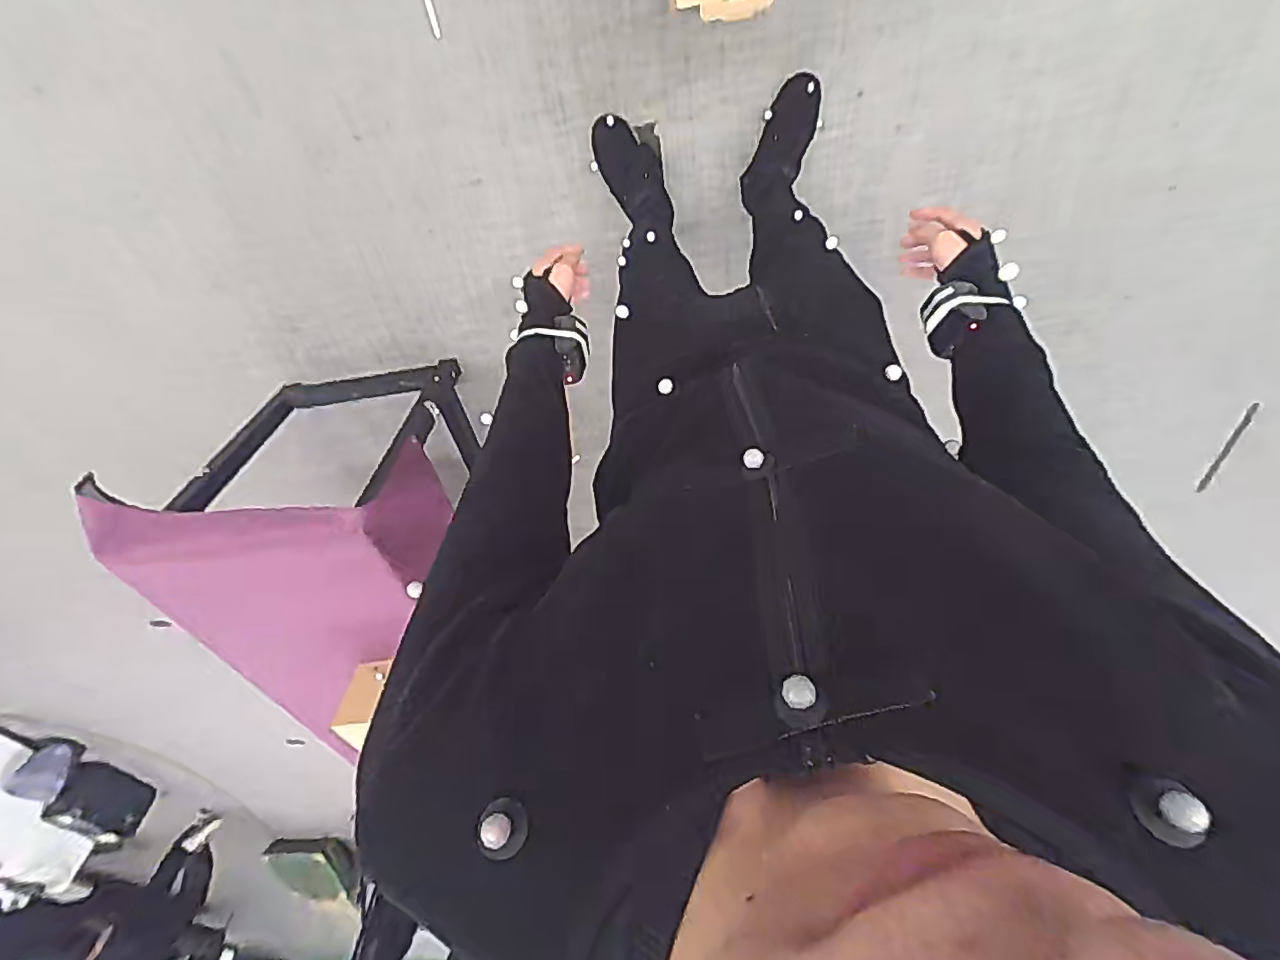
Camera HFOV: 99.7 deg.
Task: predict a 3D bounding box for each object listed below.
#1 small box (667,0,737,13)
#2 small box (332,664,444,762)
[{"bbox_3d":[0.110,-0.764,0.734,0.168,0.176,0.179,-8,130,6],"label":"small box"},{"bbox_3d":[-0.627,0.591,1.373,0.168,0.176,0.179,-10,129,9],"label":"small box"}]
